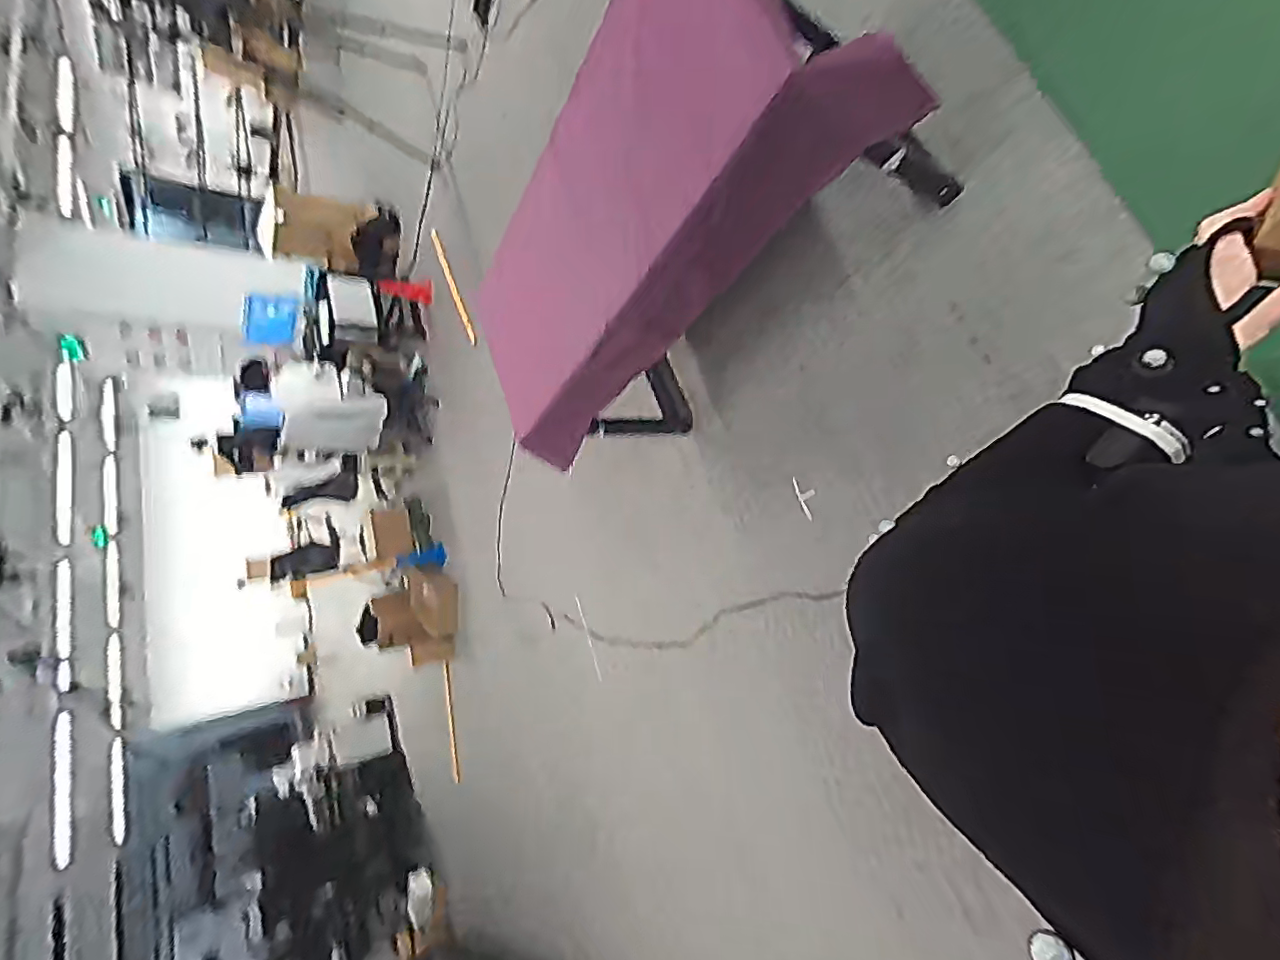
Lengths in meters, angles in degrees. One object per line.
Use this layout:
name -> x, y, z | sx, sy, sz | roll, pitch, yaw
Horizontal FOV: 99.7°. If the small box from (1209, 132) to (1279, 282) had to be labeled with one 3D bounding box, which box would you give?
small box -> 0.489, -0.215, 0.290 | 0.168, 0.179, 0.176 | 29, 91, 26
